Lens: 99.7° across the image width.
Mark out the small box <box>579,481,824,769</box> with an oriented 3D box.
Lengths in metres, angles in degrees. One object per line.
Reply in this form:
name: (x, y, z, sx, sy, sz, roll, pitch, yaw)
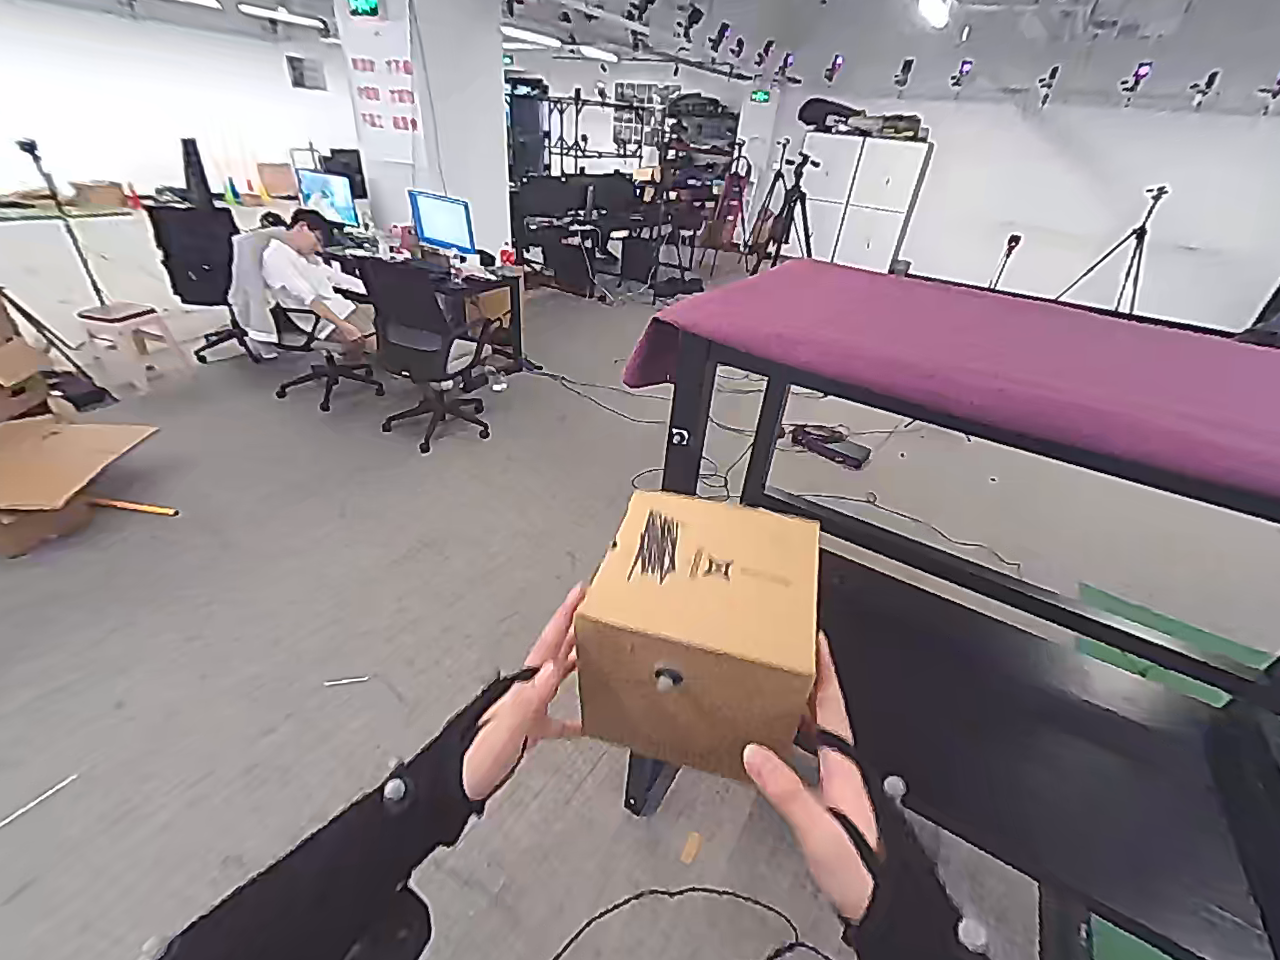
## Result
small box: (0.058, 0.126, 0.487, 0.179, 0.176, 0.168, 11, 38, 12)
